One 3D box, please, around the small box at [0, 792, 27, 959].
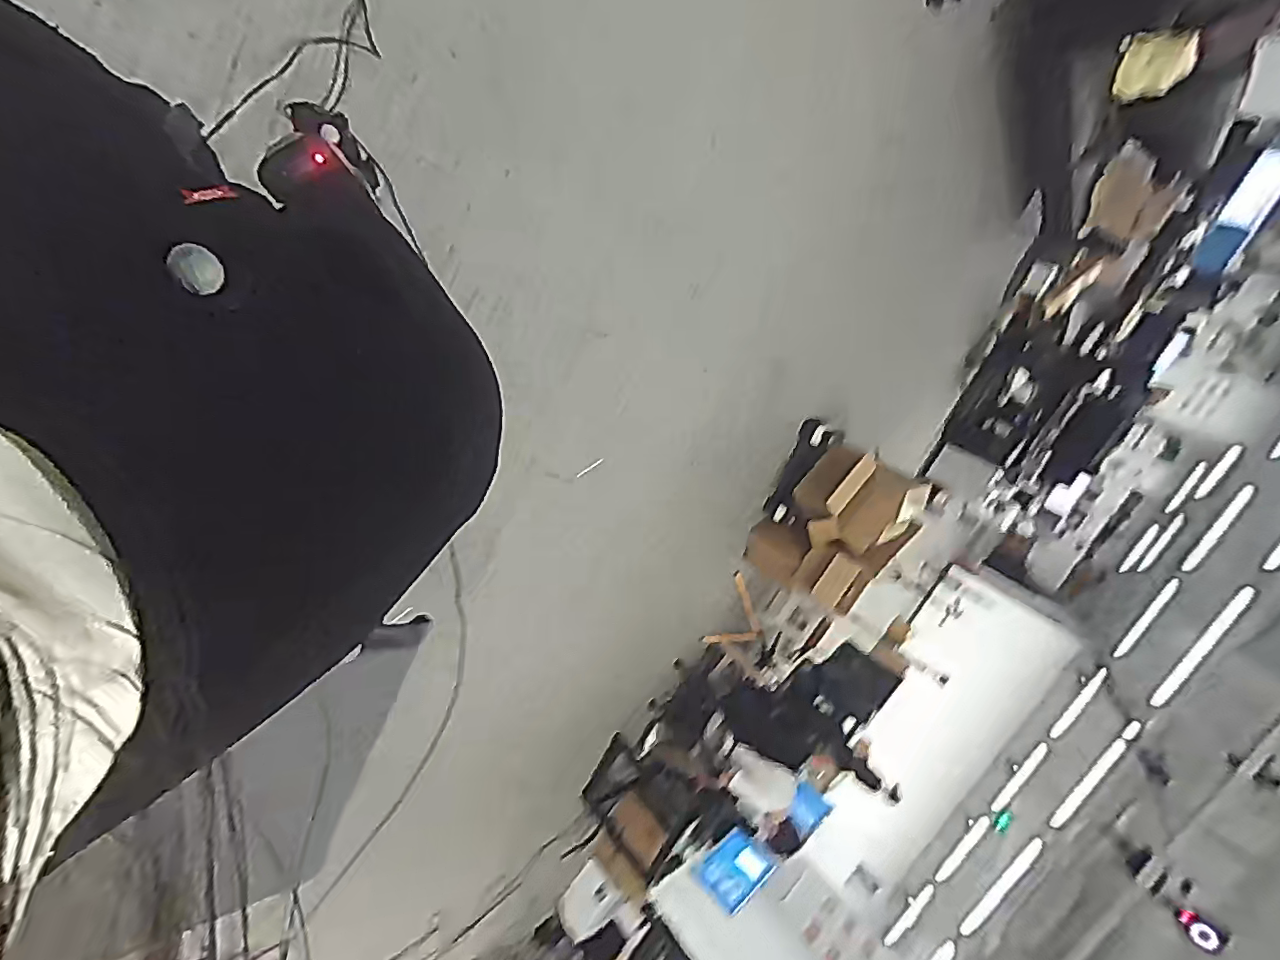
[{"bbox_3d":[-0.792,0.473,0.571,0.179,0.176,0.168,10,111,-51],"label":"small box"}]
